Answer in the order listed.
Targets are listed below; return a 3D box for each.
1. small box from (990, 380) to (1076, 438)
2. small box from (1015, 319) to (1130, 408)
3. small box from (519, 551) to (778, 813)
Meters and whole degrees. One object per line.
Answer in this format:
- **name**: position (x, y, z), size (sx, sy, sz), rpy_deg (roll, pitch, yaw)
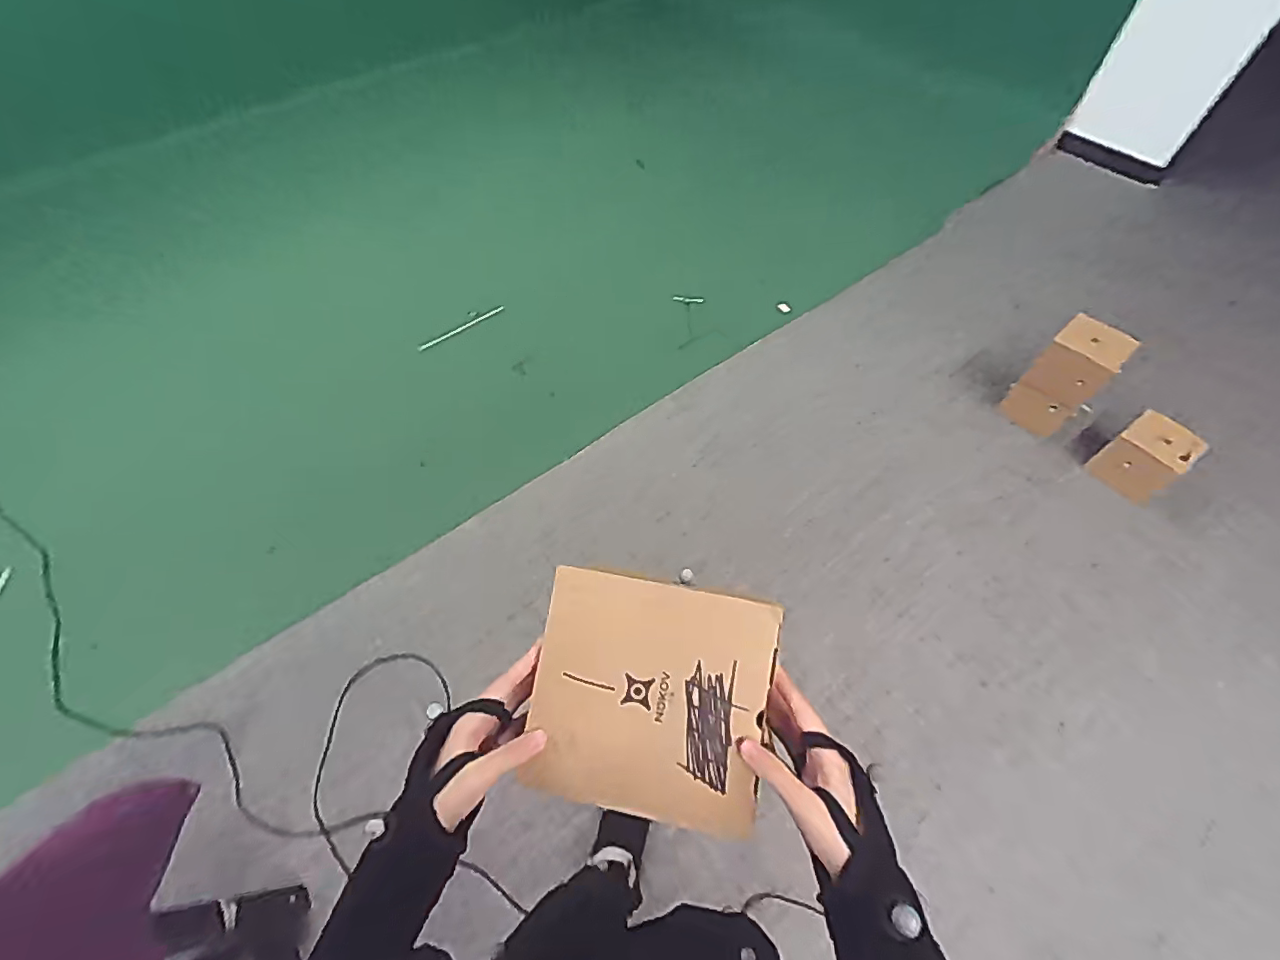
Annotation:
- **small box**: position (1.297, -0.260, 1.758), size (0.168, 0.176, 0.179), rpy_deg (-37, 62, -19)
- **small box**: position (1.283, -0.341, 1.617), size (0.168, 0.176, 0.179), rpy_deg (-37, 62, -19)
- **small box**: position (0.015, 0.162, 0.492), size (0.179, 0.176, 0.168), rpy_deg (10, 81, 8)
